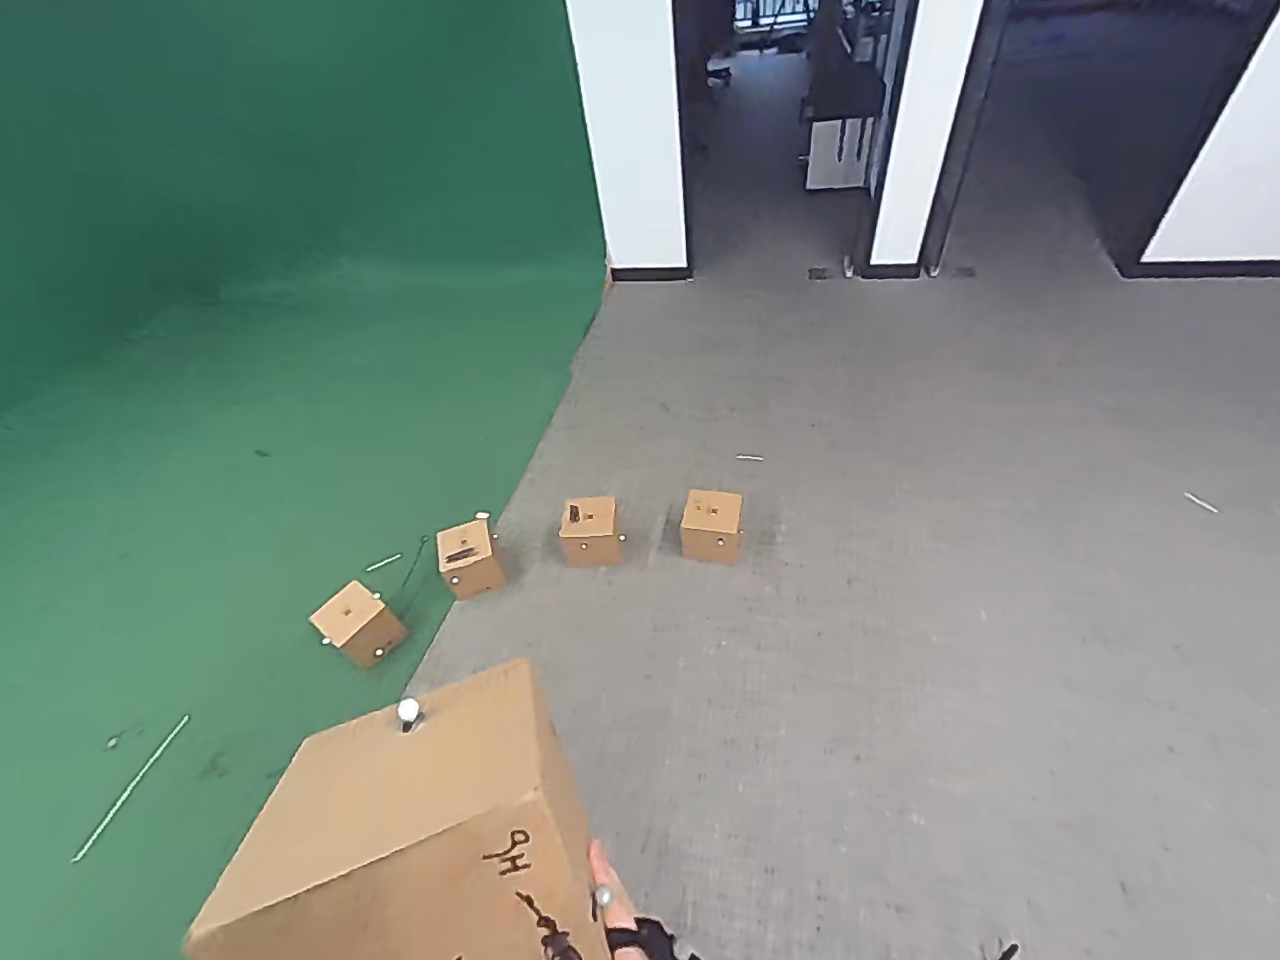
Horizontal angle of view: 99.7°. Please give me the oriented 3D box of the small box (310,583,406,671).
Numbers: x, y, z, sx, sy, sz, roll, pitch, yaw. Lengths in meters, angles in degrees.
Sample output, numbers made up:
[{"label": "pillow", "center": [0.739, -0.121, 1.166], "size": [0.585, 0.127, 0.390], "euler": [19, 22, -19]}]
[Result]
[{"label": "small box", "center": [-0.866, 0.457, 1.669], "size": [0.179, 0.176, 0.168], "euler": [25, 55, 29]}]

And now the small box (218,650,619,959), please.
[{"label": "small box", "center": [-0.124, 0.245, 0.369], "size": [0.179, 0.168, 0.176], "euler": [-17, 10, -11]}]

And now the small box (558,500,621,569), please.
[{"label": "small box", "center": [-0.164, 0.185, 1.816], "size": [0.179, 0.176, 0.168], "euler": [-3, 46, 5]}]

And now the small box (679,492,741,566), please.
[{"label": "small box", "center": [0.232, 0.164, 1.773], "size": [0.179, 0.176, 0.168], "euler": [6, 47, 14]}]
